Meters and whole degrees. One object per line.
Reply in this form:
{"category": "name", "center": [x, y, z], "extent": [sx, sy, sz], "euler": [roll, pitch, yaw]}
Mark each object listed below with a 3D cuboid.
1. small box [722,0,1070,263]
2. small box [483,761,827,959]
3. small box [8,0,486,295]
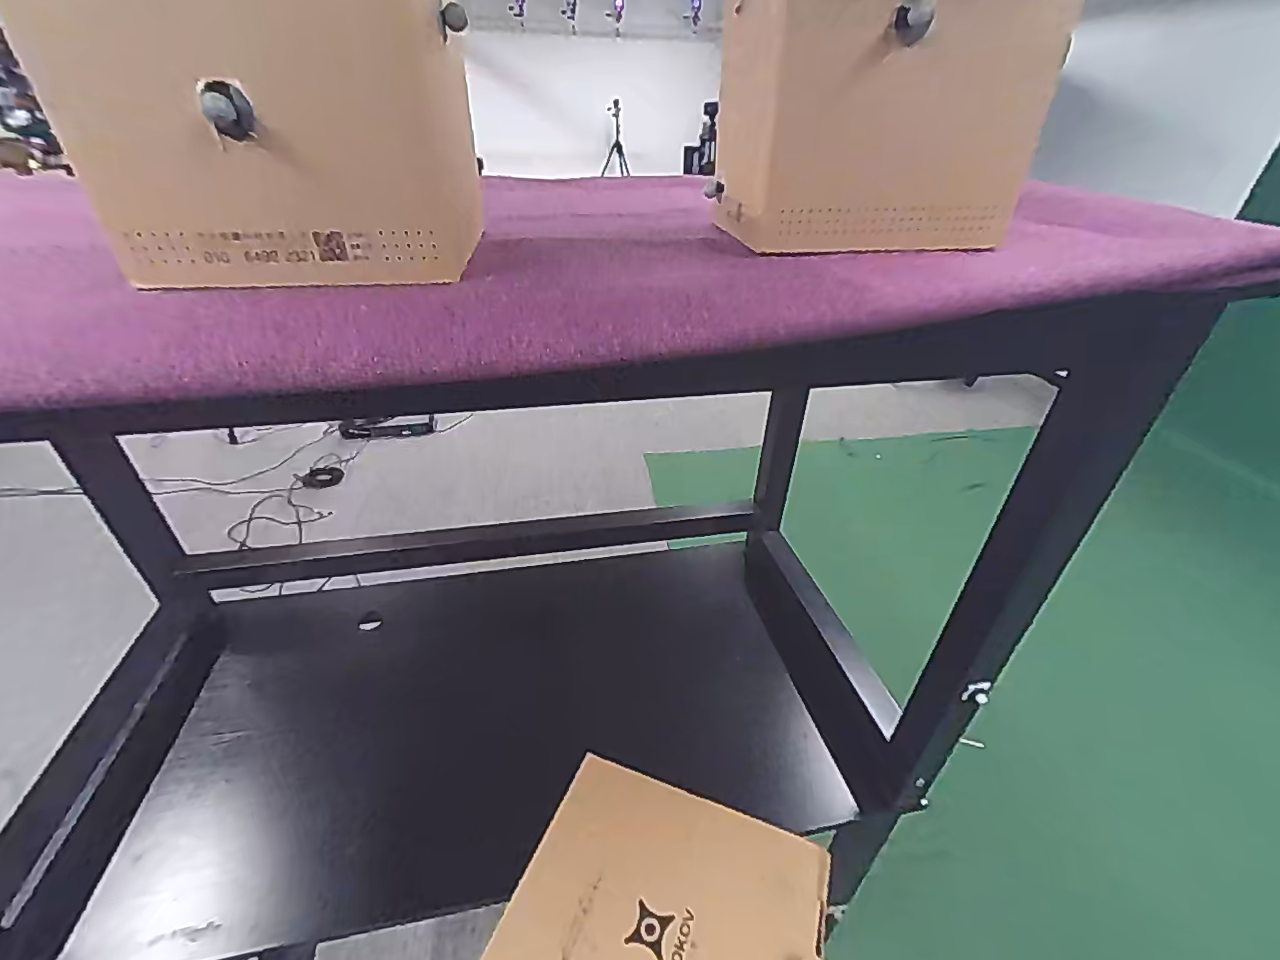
{"category": "small box", "center": [0.161, -0.262, 0.399], "extent": [0.179, 0.176, 0.168], "euler": [-2, 33, -4]}
{"category": "small box", "center": [0.011, 0.331, 0.352], "extent": [0.179, 0.176, 0.168], "euler": [10, 32, 20]}
{"category": "small box", "center": [-0.189, -0.213, 0.317], "extent": [0.168, 0.176, 0.179], "euler": [-3, 34, -8]}
